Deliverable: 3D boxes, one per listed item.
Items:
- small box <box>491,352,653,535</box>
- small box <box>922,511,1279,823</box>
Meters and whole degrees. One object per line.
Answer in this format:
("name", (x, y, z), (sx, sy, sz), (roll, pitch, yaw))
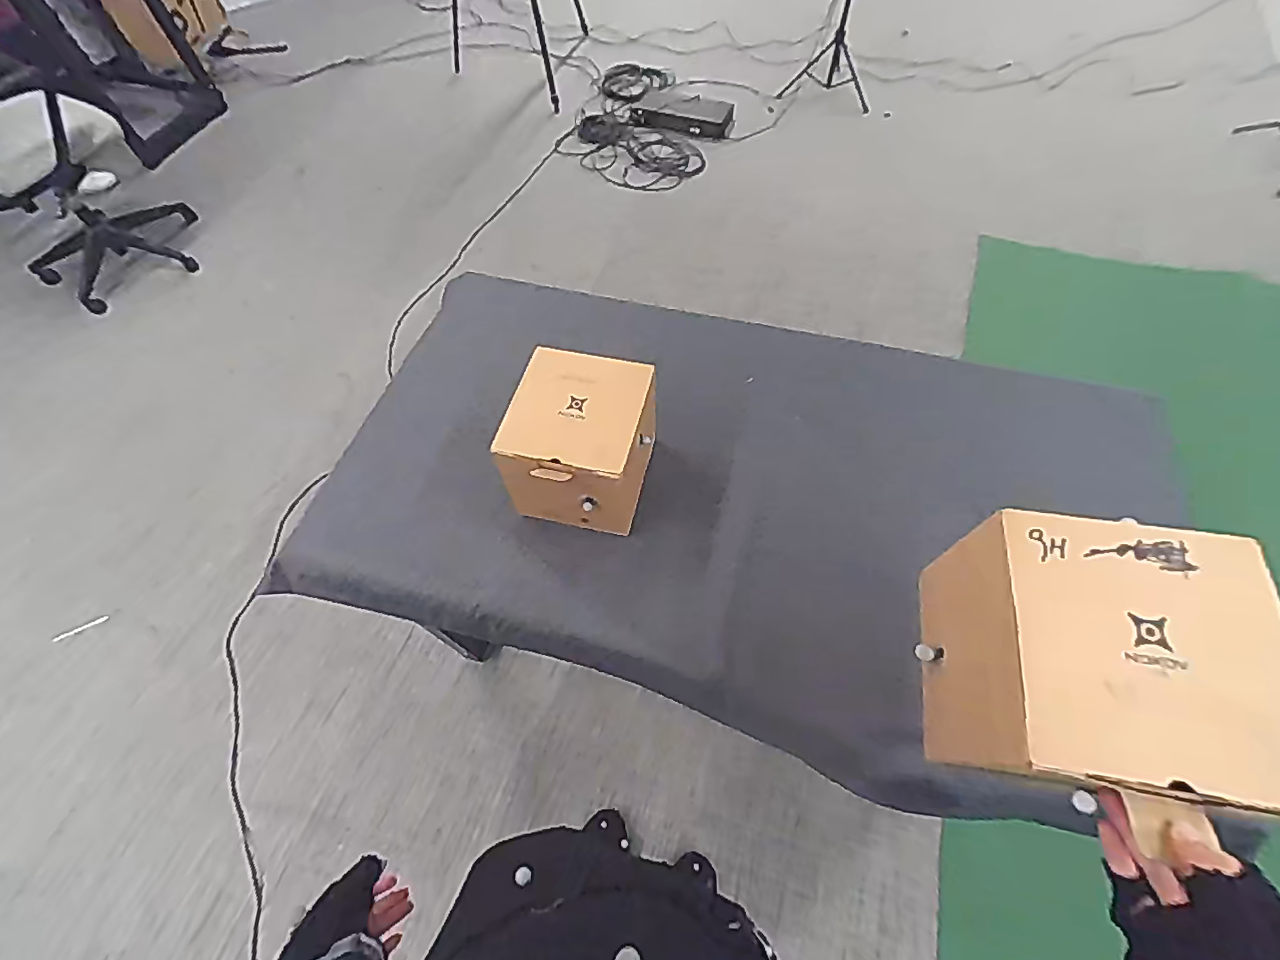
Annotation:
("small box", (-0.078, -0.044, 0.741), (0.168, 0.176, 0.179), (11, 59, 7))
("small box", (0.338, 0.143, 0.422), (0.168, 0.176, 0.179), (7, 65, 9))
